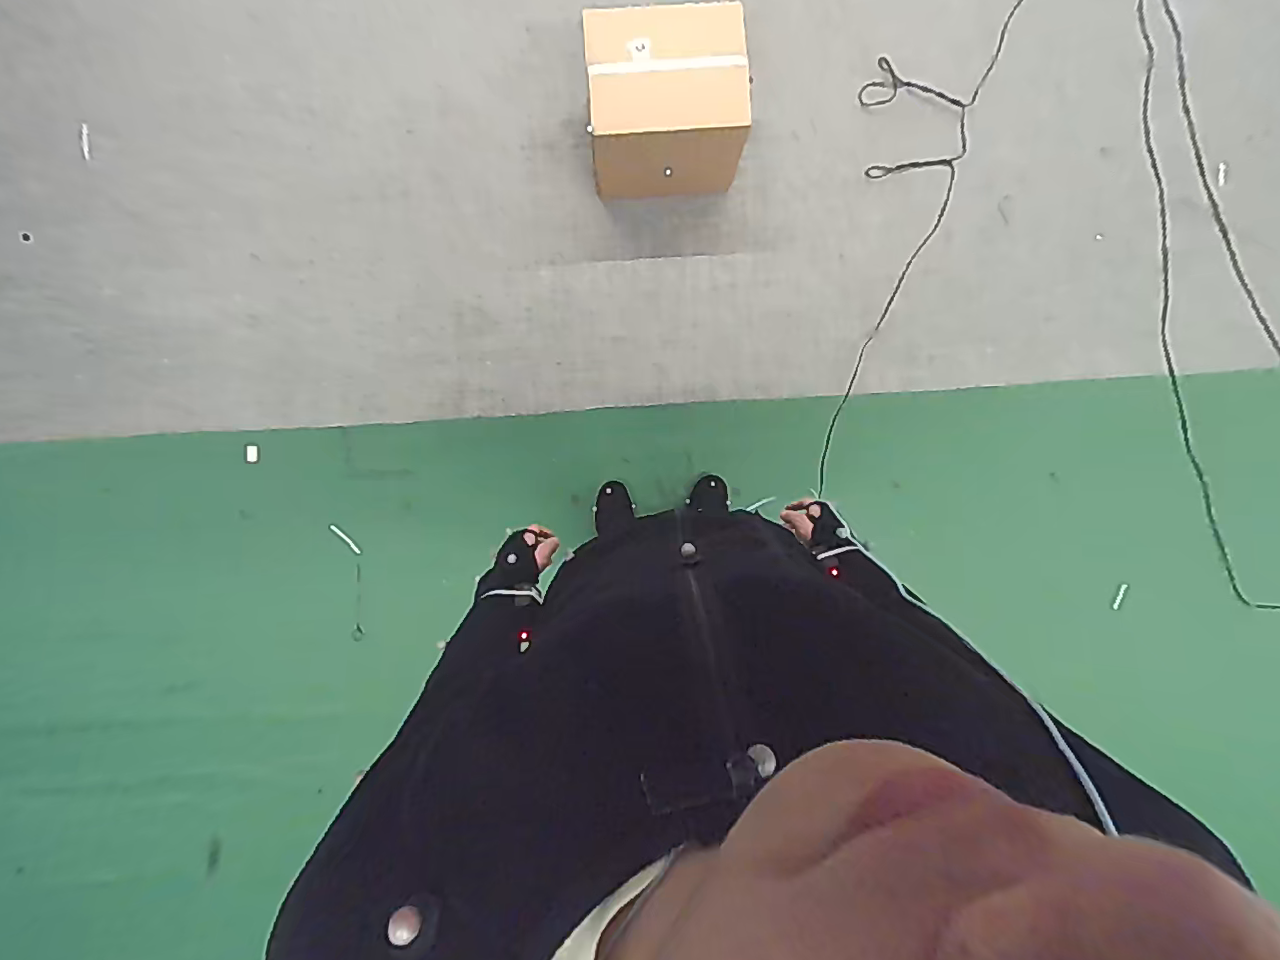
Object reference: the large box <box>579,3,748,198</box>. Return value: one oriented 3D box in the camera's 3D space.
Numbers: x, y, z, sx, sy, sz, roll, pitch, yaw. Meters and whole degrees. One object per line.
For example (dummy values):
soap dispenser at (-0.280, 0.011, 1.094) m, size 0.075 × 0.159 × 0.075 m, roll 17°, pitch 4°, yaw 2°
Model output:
large box at (0.060, -1.029, 1.506) m, size 0.408 × 0.320 × 0.320 m, roll -6°, pitch 90°, yaw 0°
